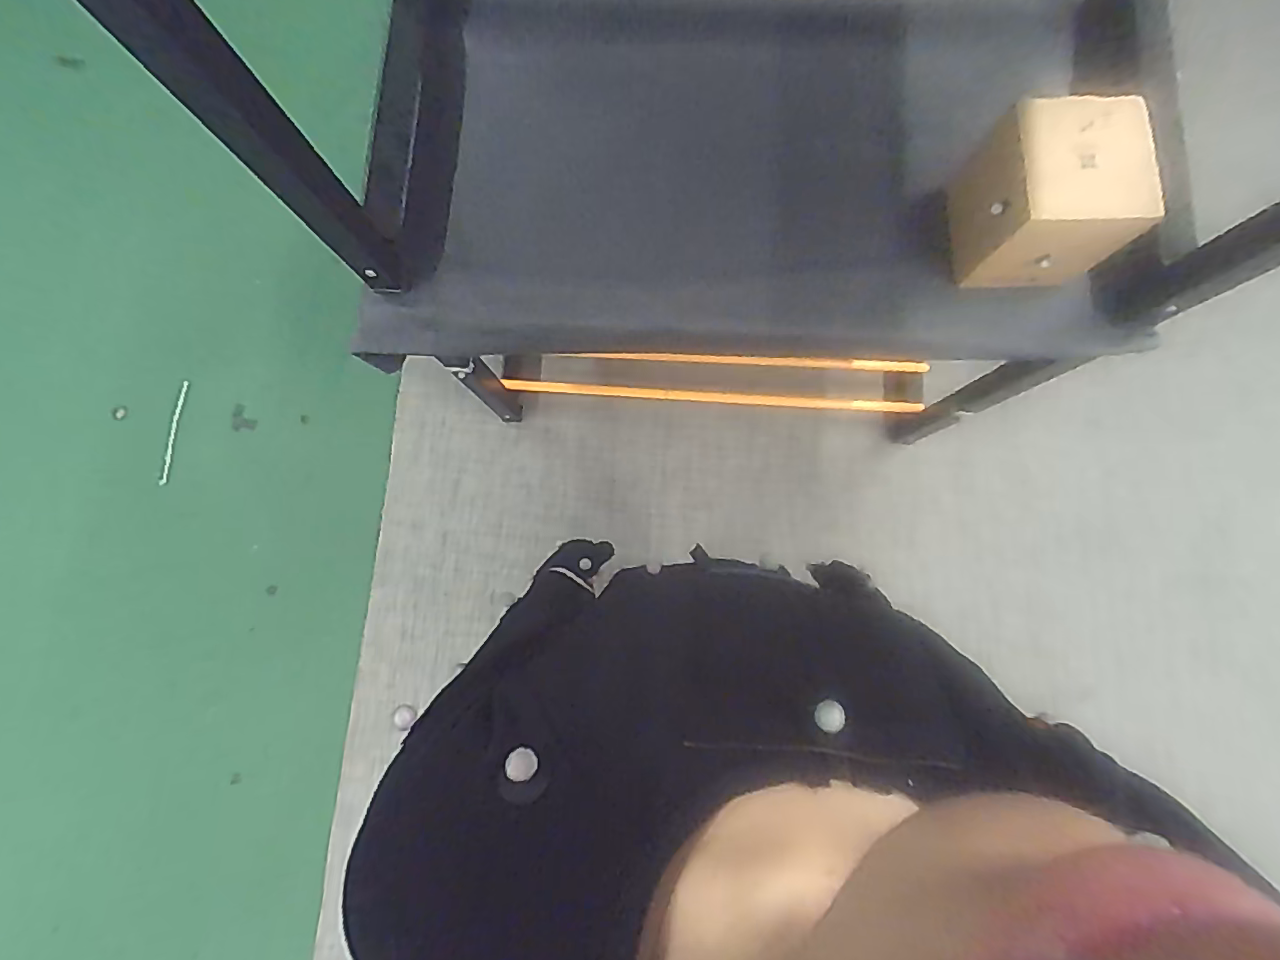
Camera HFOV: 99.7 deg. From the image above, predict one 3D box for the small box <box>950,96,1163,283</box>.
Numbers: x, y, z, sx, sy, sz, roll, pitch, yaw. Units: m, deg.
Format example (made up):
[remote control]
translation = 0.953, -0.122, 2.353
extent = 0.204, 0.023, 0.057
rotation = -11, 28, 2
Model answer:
[small box]
translation = 0.568, -0.394, 0.763
extent = 0.168, 0.176, 0.179
rotation = 0, 80, 1
